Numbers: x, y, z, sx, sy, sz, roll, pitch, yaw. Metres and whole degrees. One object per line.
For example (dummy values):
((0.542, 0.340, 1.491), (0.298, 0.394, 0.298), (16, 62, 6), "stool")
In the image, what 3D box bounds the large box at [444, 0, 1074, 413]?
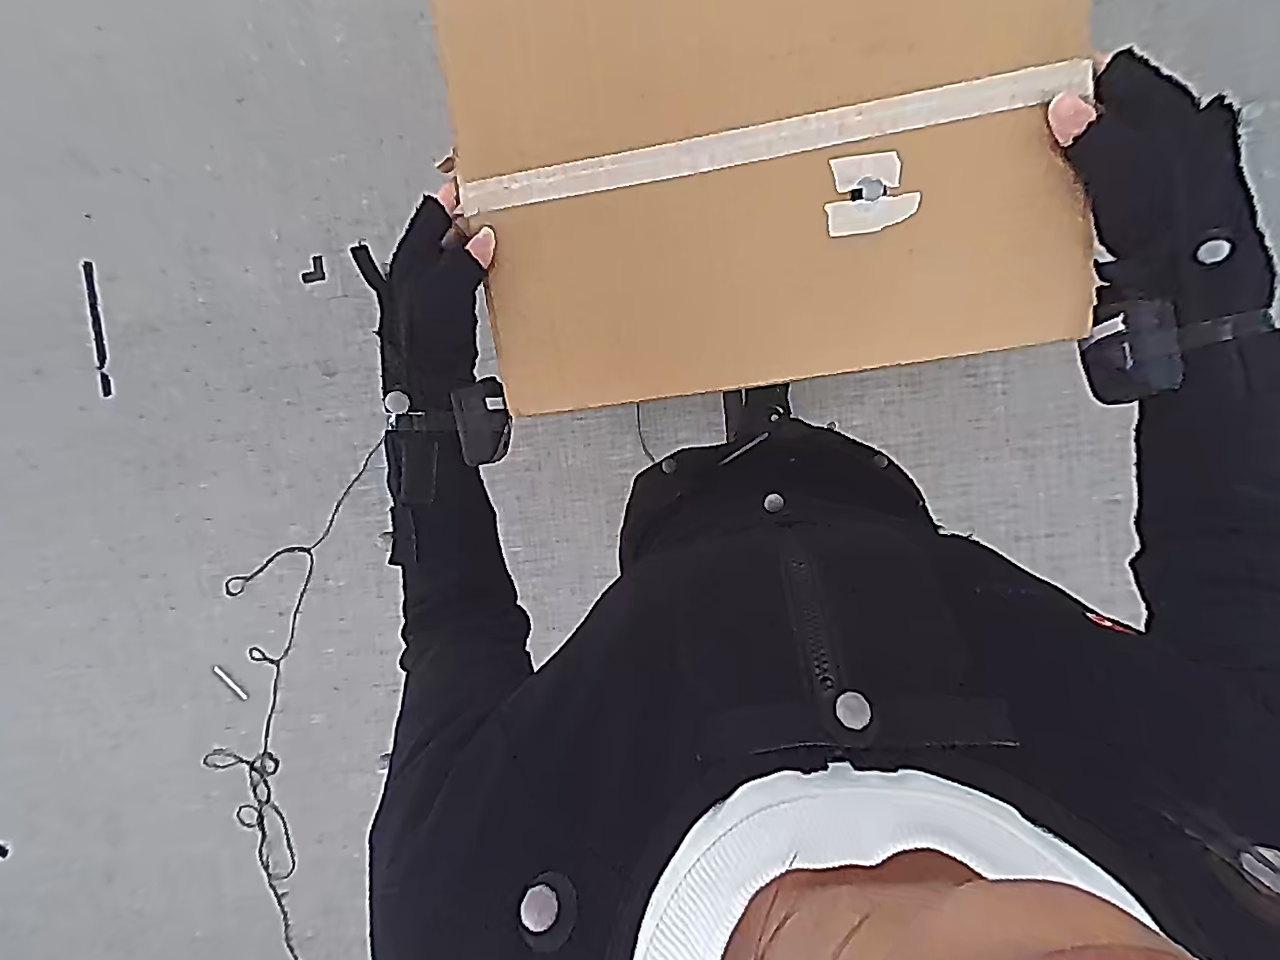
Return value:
((0.092, -0.254, 0.518), (0.408, 0.320, 0.320), (-8, 100, 6), "large box")
